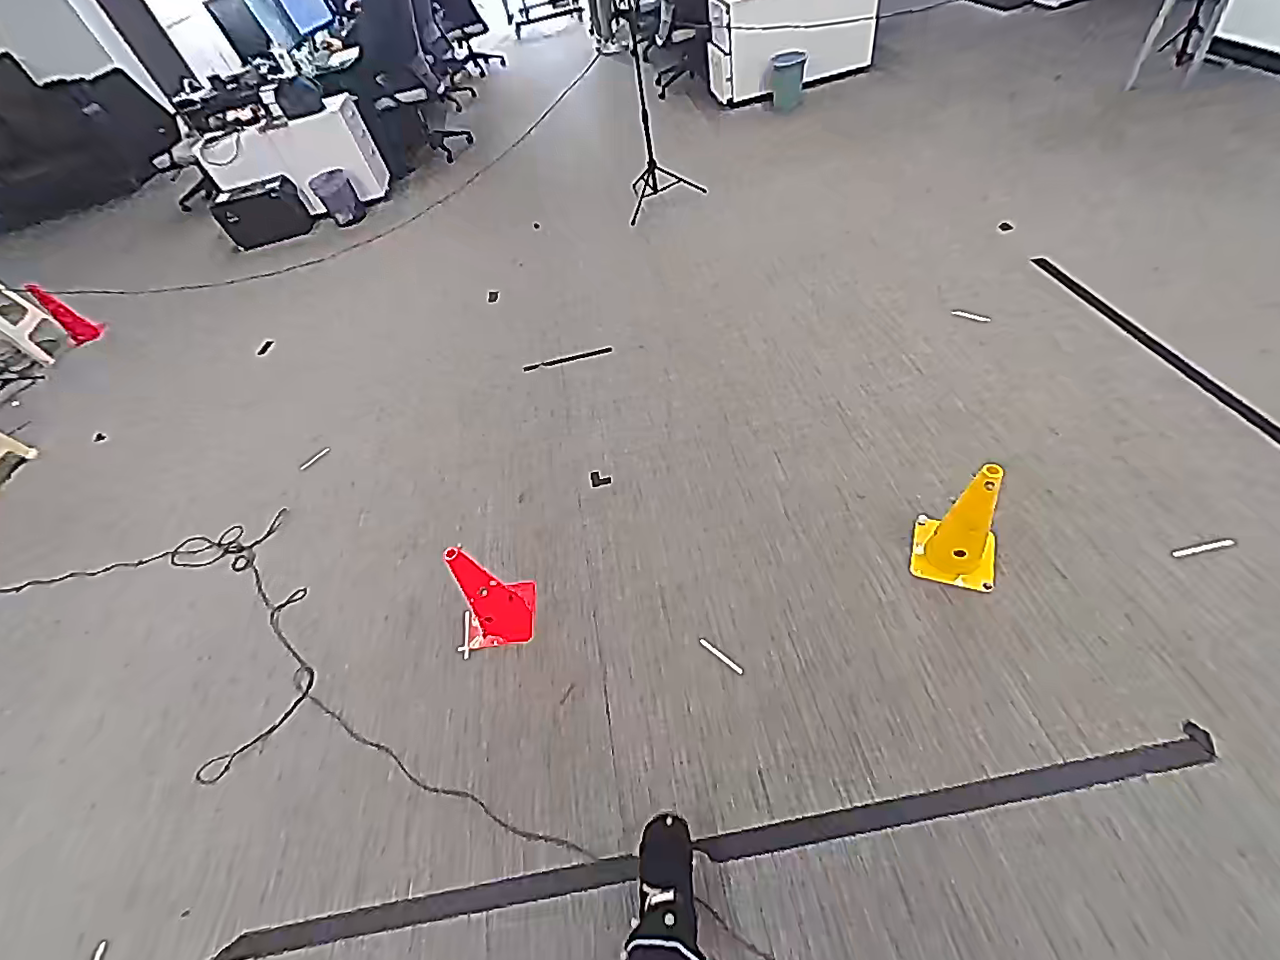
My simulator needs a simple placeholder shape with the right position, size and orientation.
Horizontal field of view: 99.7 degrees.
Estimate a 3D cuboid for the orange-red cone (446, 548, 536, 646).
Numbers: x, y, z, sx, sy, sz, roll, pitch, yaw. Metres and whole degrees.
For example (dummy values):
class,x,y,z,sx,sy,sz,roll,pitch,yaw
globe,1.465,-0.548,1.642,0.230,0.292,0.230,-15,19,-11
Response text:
class,x,y,z,sx,sy,sz,roll,pitch,yaw
orange-red cone,-0.442,0.295,1.497,0.199,0.360,0.198,-7,50,6
